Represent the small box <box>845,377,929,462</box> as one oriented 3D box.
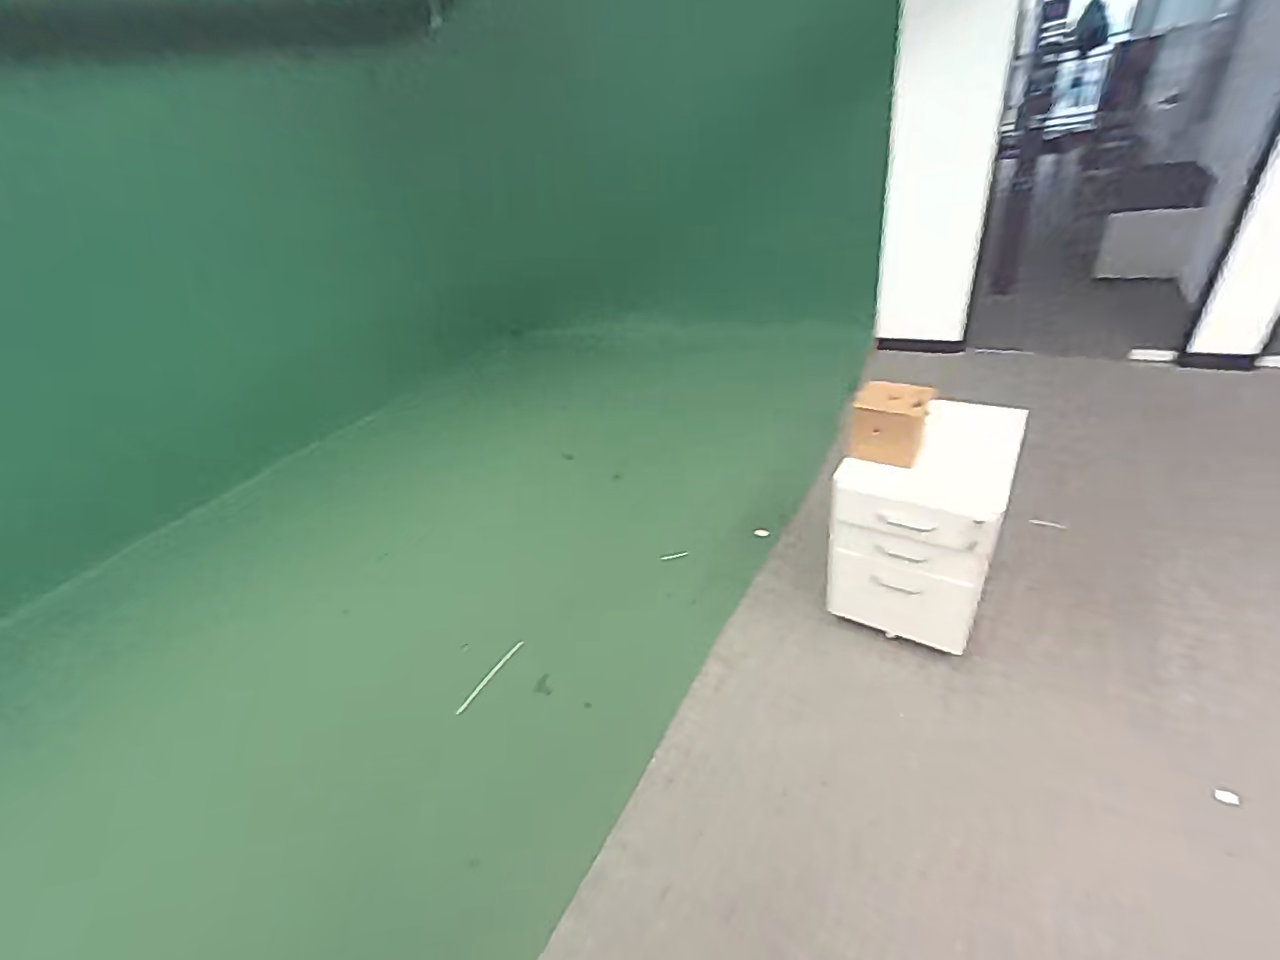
[{"bbox_3d":[0.681,-0.170,1.505,0.179,0.176,0.168,14,43,31],"label":"small box"}]
